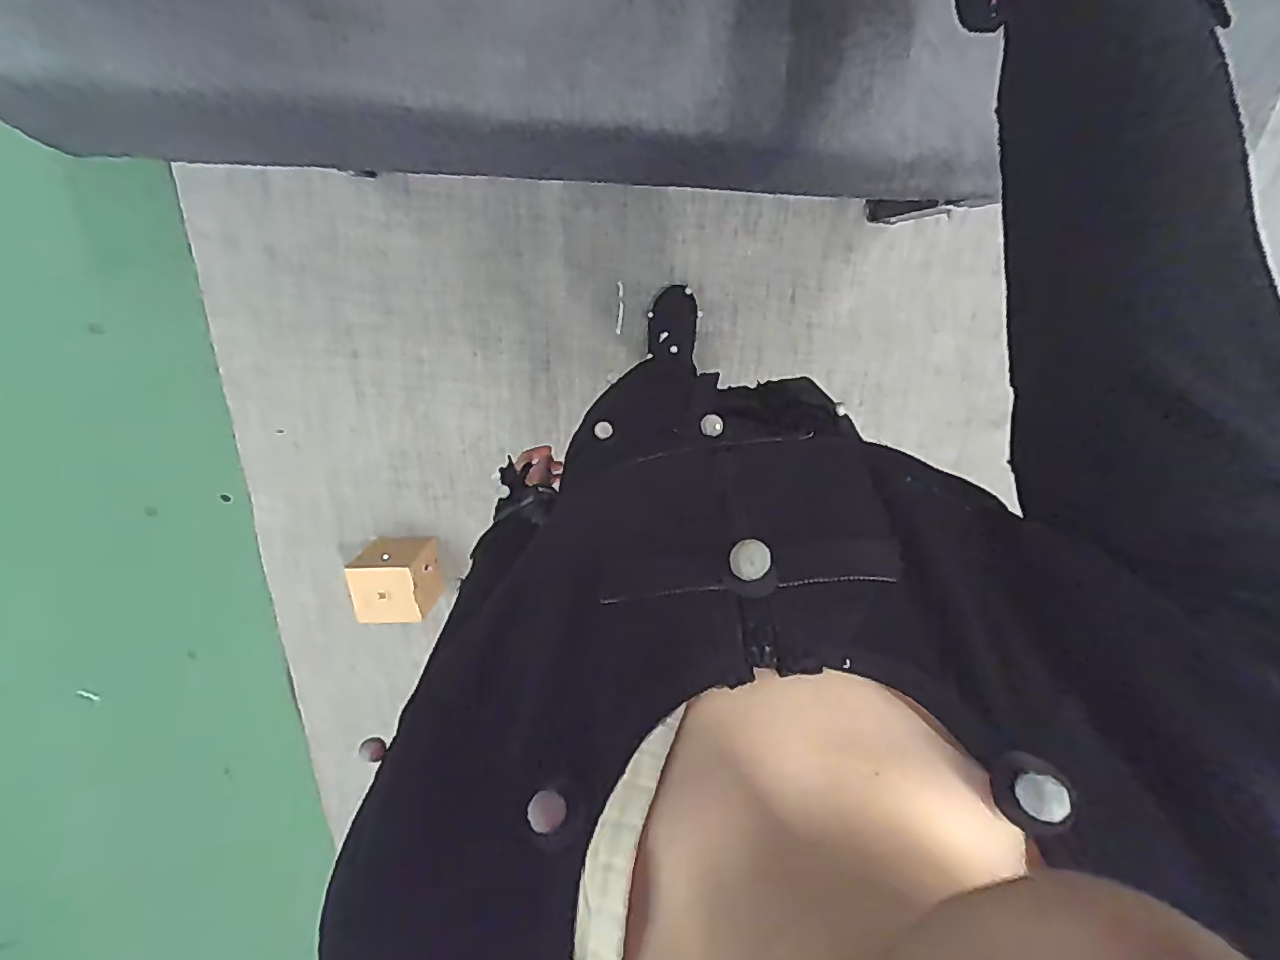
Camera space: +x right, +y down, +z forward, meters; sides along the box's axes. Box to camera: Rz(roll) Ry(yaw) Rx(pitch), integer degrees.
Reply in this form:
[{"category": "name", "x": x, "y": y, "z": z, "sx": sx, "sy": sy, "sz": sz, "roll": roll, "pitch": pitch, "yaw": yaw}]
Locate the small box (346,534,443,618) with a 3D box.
[{"category": "small box", "x": -0.647, "y": 0.254, "z": 1.454, "sx": 0.179, "sy": 0.176, "sz": 0.168, "roll": -2, "pitch": 110, "yaw": 4}]
